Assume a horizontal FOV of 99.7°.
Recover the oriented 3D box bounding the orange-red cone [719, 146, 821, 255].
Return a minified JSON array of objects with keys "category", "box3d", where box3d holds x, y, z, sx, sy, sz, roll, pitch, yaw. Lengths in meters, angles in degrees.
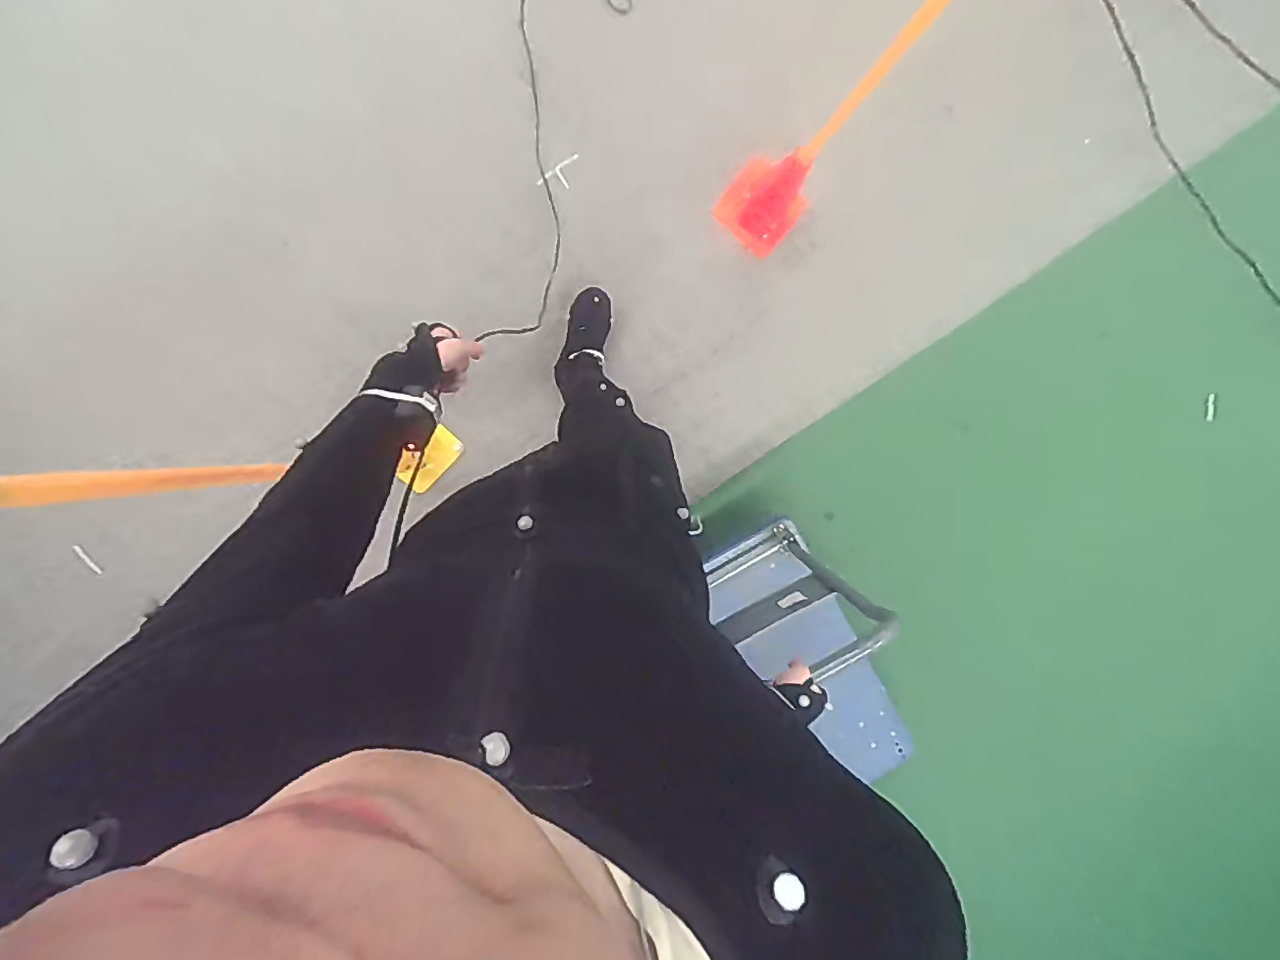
[{"category":"orange-red cone","box3d":[0.357,-0.729,1.330,0.198,0.360,0.199,41,94,-10]}]
